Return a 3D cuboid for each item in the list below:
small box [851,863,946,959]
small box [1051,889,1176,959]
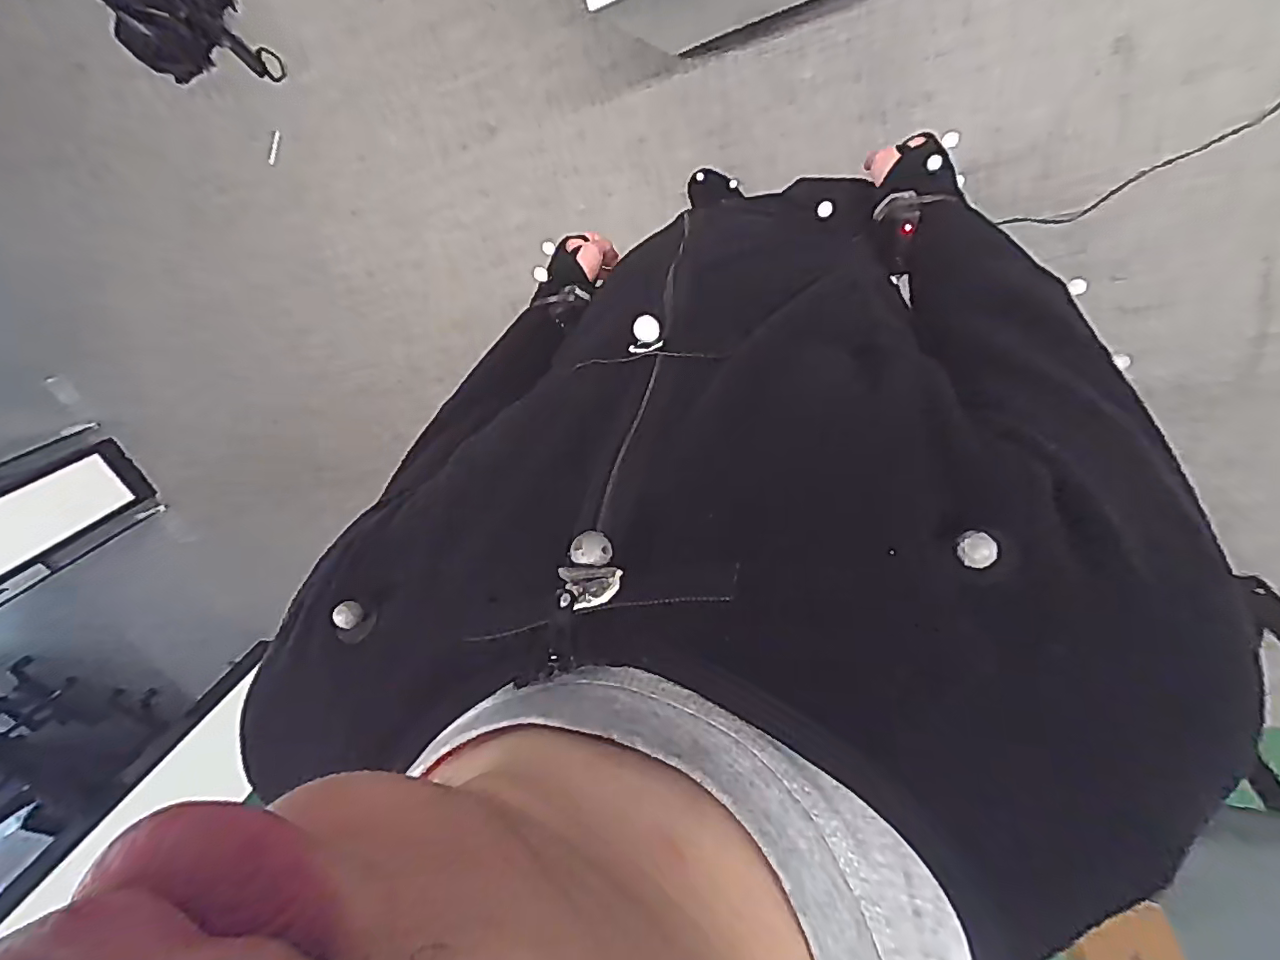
[{"bbox_3d":[0.612,1.058,1.300,0.179,0.176,0.168,-2,121,16],"label":"small box"},{"bbox_3d":[1.023,1.017,1.161,0.179,0.176,0.168,-7,118,21],"label":"small box"}]
